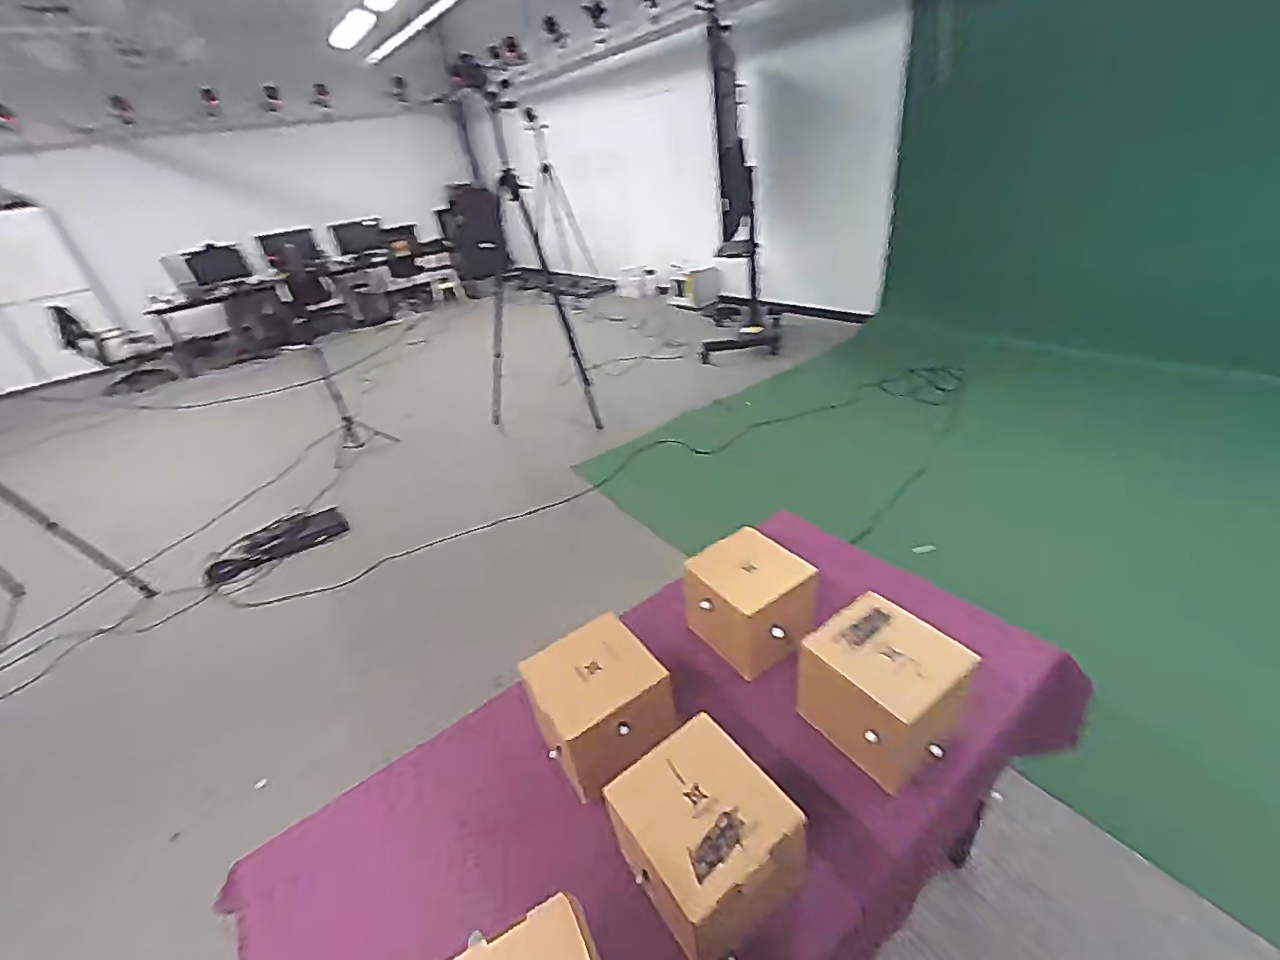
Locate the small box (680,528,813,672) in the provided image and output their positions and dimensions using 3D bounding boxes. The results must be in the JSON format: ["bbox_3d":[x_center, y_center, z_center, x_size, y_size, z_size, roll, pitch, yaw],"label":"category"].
[{"bbox_3d":[0.198,0.224,0.998,0.168,0.176,0.179,-26,34,-24],"label":"small box"}]

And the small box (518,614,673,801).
[{"bbox_3d":[-0.065,0.356,0.853,0.179,0.176,0.168,-25,35,-25],"label":"small box"}]

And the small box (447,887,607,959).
[{"bbox_3d":[-0.086,0.437,0.386,0.168,0.176,0.179,-21,54,-18],"label":"small box"}]

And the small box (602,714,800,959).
[{"bbox_3d":[0.078,0.443,0.668,0.168,0.176,0.179,-26,34,-26],"label":"small box"}]
